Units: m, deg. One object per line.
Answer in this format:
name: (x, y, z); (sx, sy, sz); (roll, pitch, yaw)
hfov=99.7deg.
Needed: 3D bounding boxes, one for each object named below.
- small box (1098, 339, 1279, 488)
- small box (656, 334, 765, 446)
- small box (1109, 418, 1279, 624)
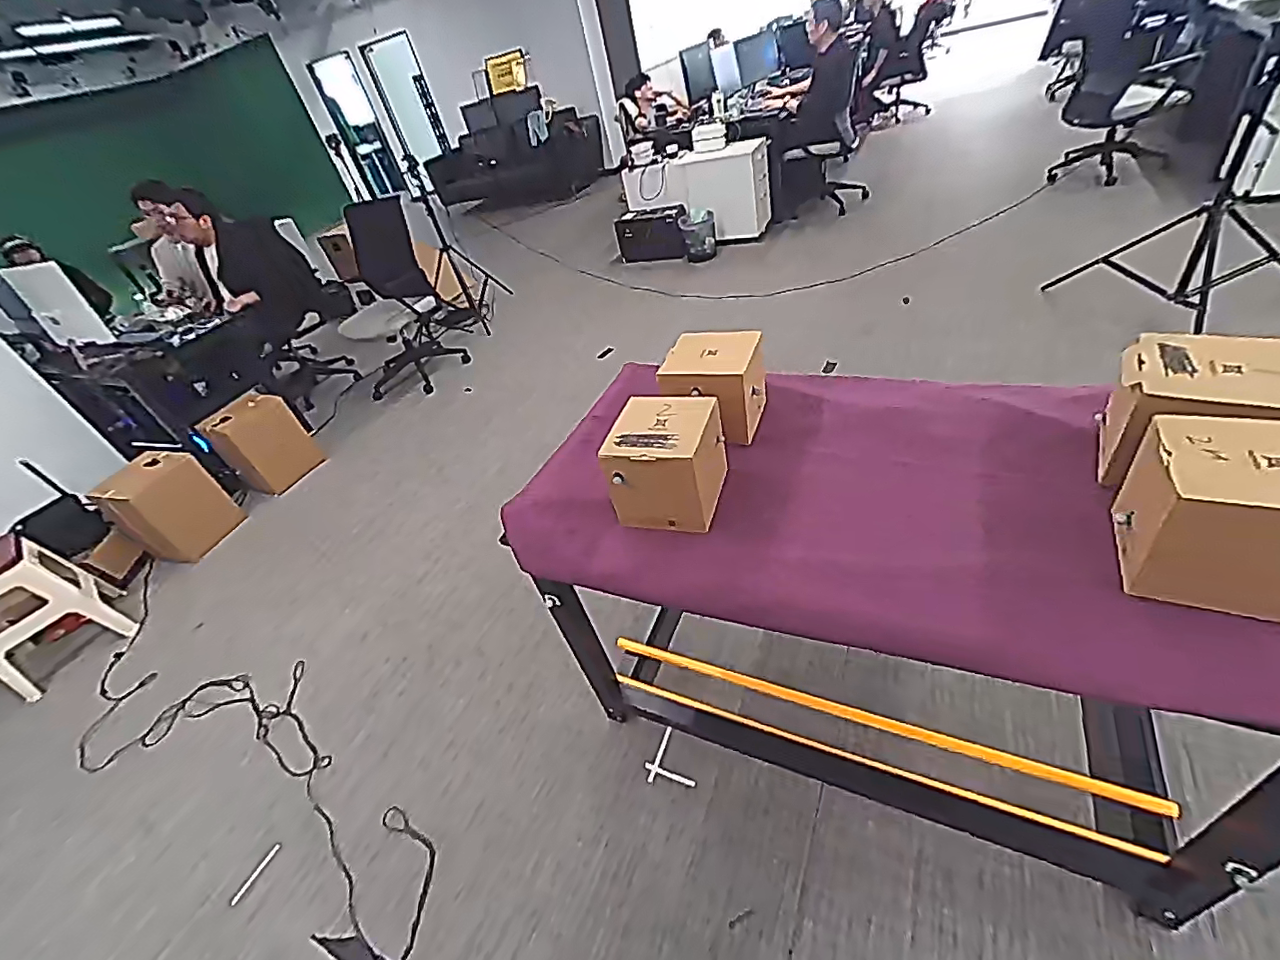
small box: (0.790, -0.083, 0.775); (0.179, 0.176, 0.168); (14, 49, 30)
small box: (0.155, -0.186, 1.117); (0.179, 0.176, 0.168); (5, 44, 24)
small box: (0.707, 0.047, 0.648); (0.179, 0.176, 0.168); (9, 43, 29)
